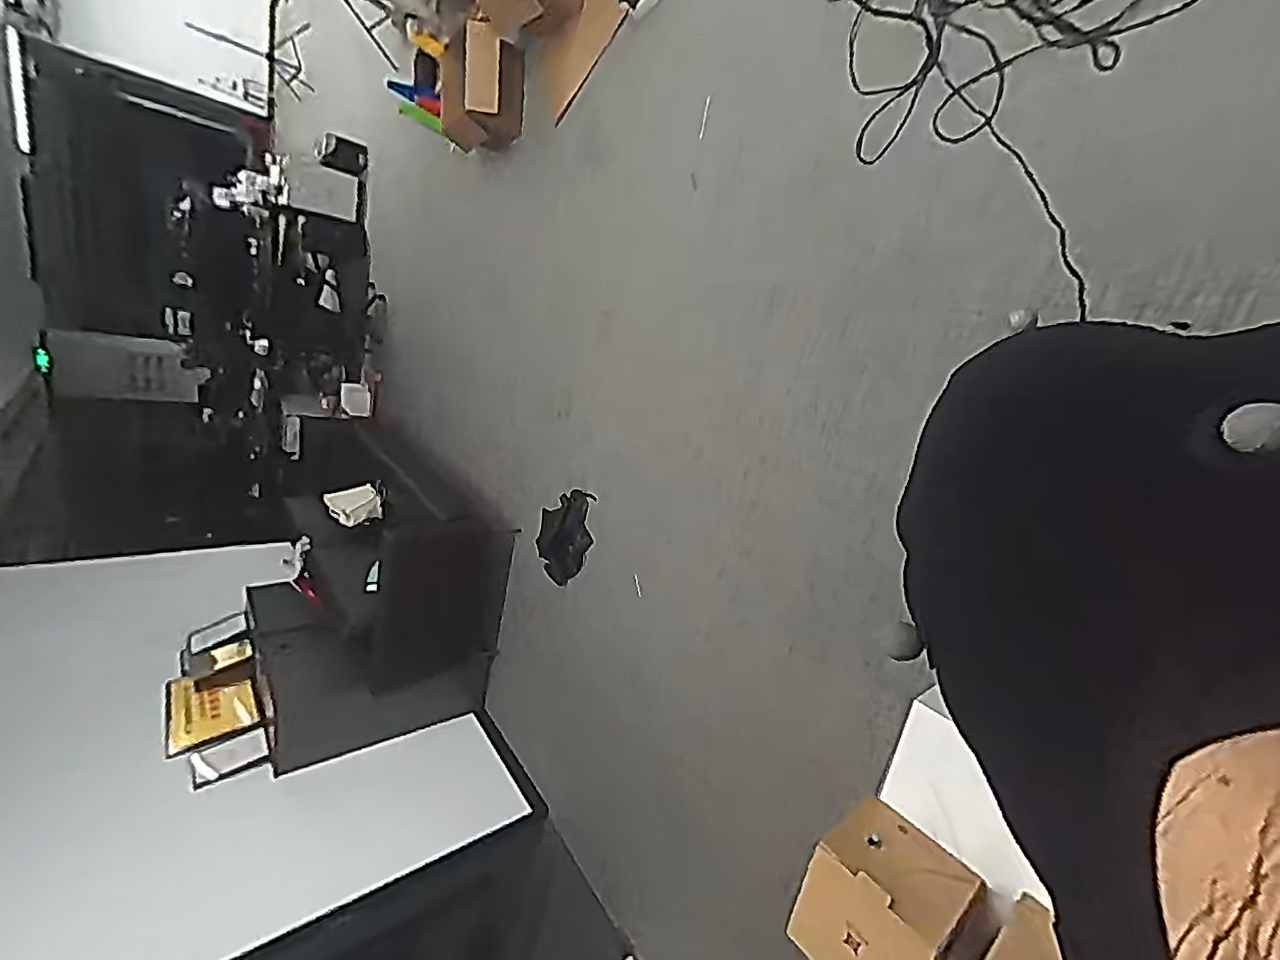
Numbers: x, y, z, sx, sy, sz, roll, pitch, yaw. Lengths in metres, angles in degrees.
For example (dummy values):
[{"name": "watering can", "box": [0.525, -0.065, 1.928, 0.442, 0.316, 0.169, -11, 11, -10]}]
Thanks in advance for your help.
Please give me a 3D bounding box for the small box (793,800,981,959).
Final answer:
[{"name": "small box", "box": [0.351, 0.602, 0.765, 0.168, 0.176, 0.179, 27, 112, 47]}]
